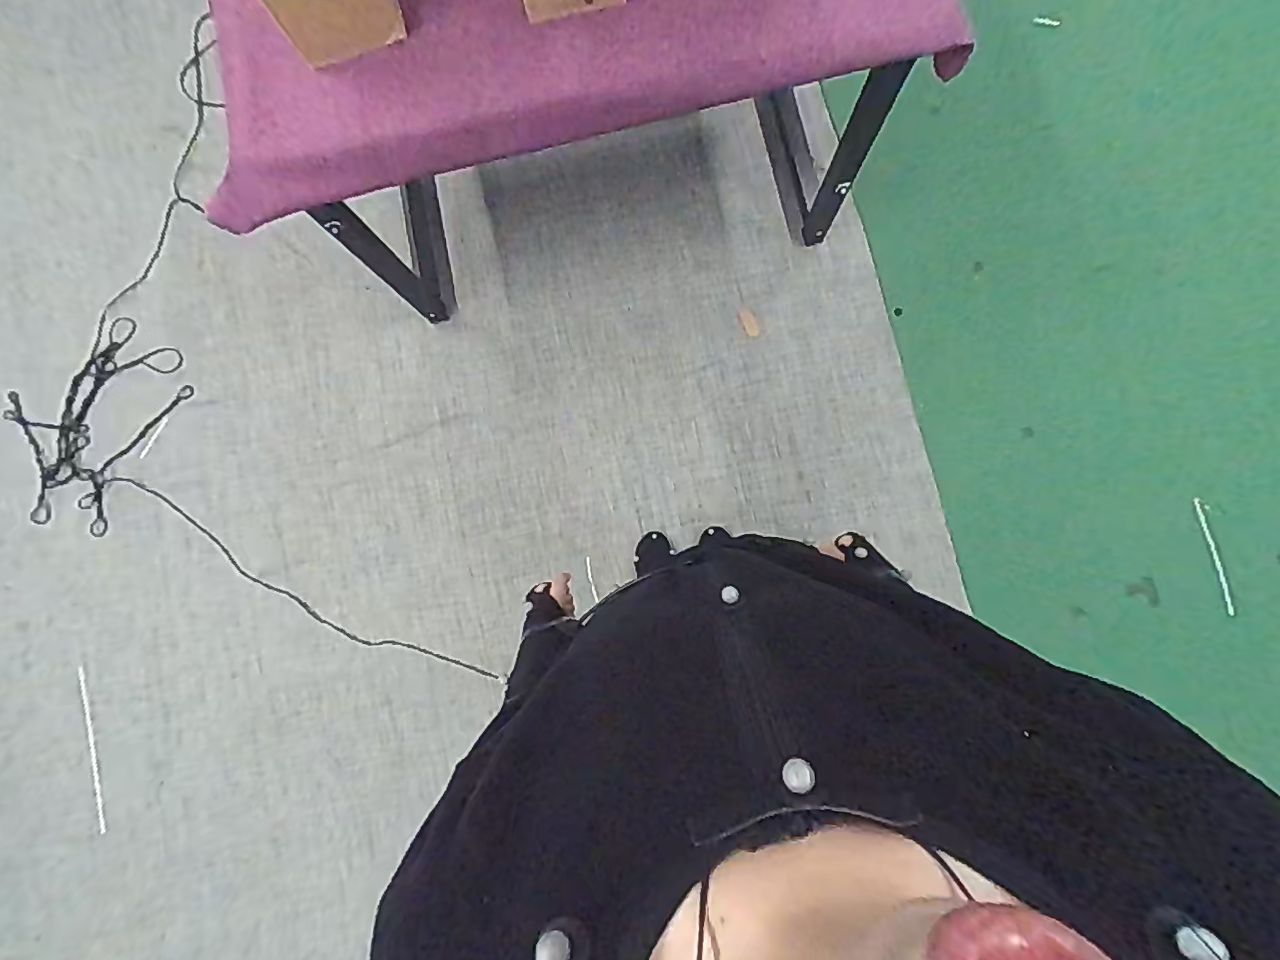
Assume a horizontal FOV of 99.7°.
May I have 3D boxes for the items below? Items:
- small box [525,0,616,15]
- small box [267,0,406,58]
[{"bbox_3d":[-0.122,-0.864,0.813,0.168,0.176,0.179,-10,84,2],"label":"small box"},{"bbox_3d":[-0.494,-0.800,0.828,0.179,0.176,0.168,-16,85,1],"label":"small box"}]
